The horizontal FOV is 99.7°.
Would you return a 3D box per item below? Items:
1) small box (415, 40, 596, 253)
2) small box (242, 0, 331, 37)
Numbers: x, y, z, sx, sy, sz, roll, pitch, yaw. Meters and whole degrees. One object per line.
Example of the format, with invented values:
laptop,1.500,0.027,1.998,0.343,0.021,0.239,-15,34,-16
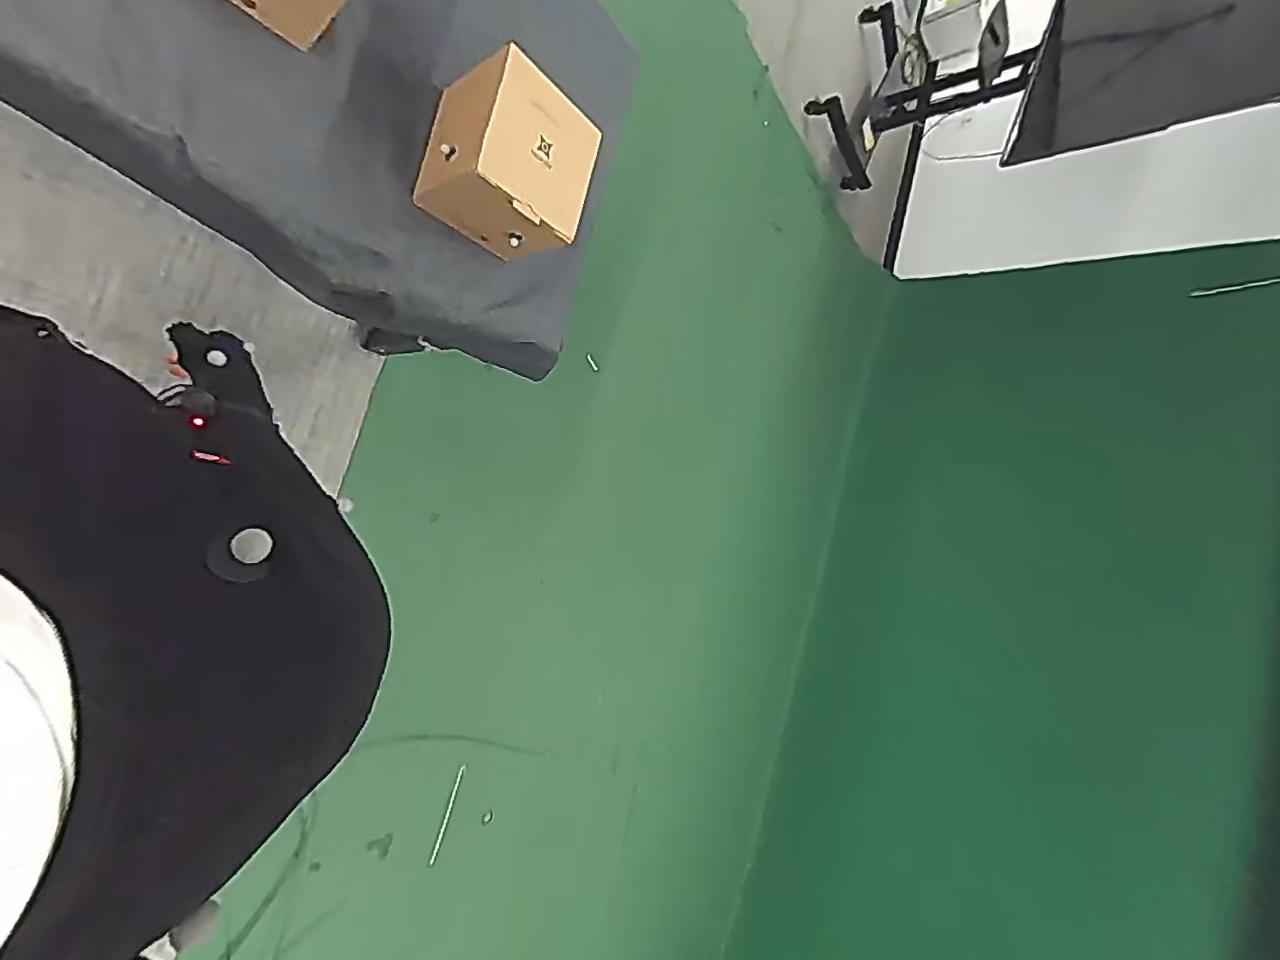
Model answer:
small box,-0.193,-0.448,0.765,0.168,0.176,0.179,18,82,-49
small box,-0.375,-0.598,0.529,0.168,0.176,0.179,15,84,-49
